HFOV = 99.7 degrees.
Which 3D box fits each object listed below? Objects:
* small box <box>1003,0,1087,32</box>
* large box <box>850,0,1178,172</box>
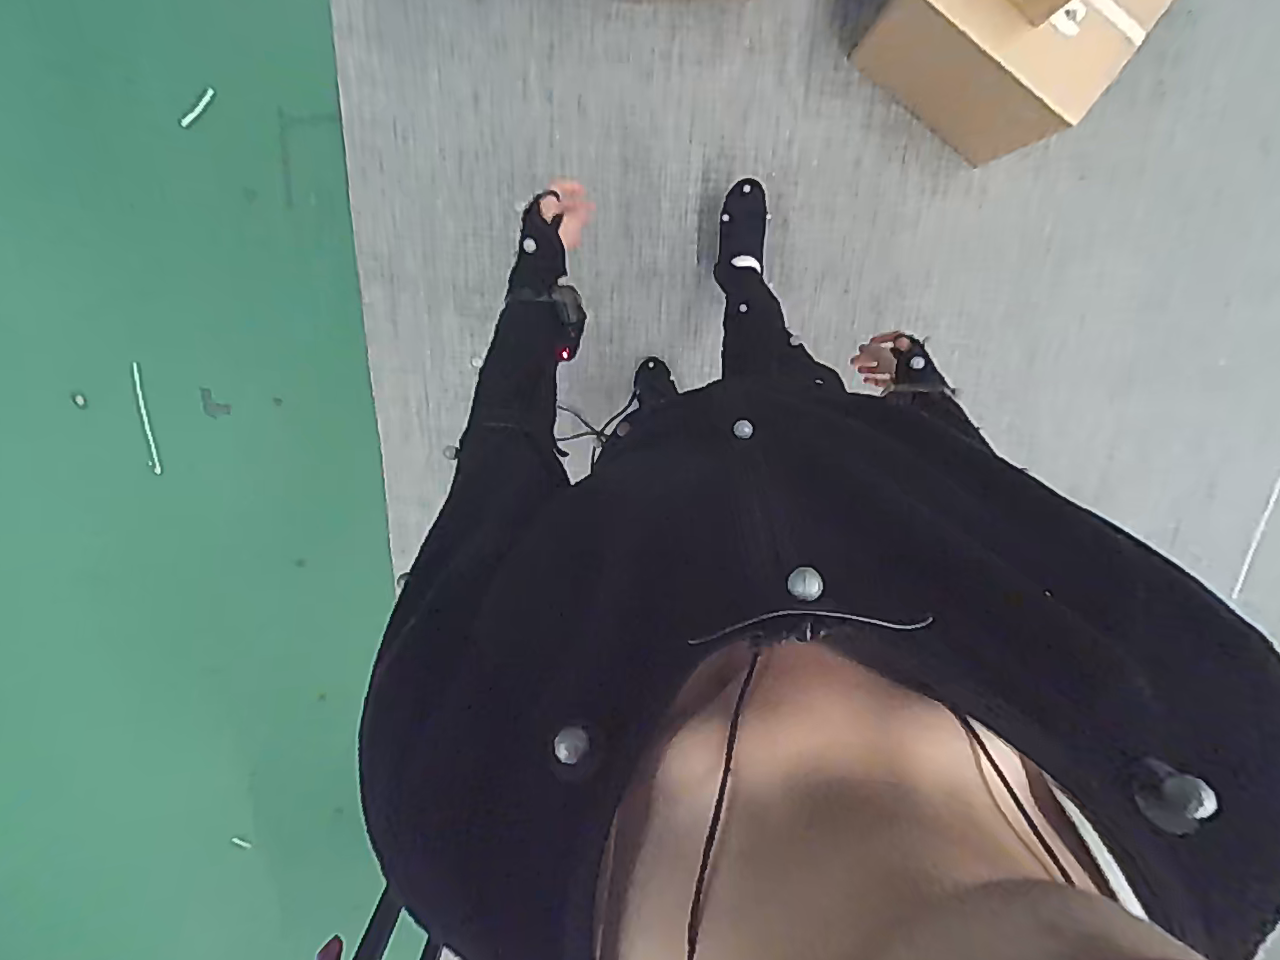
[{"bbox_3d":[0.674,-0.858,0.825,0.168,0.176,0.179,36,104,-9],"label":"small box"},{"bbox_3d":[0.712,-0.900,1.067,0.408,0.320,0.320,32,106,-9],"label":"large box"}]
